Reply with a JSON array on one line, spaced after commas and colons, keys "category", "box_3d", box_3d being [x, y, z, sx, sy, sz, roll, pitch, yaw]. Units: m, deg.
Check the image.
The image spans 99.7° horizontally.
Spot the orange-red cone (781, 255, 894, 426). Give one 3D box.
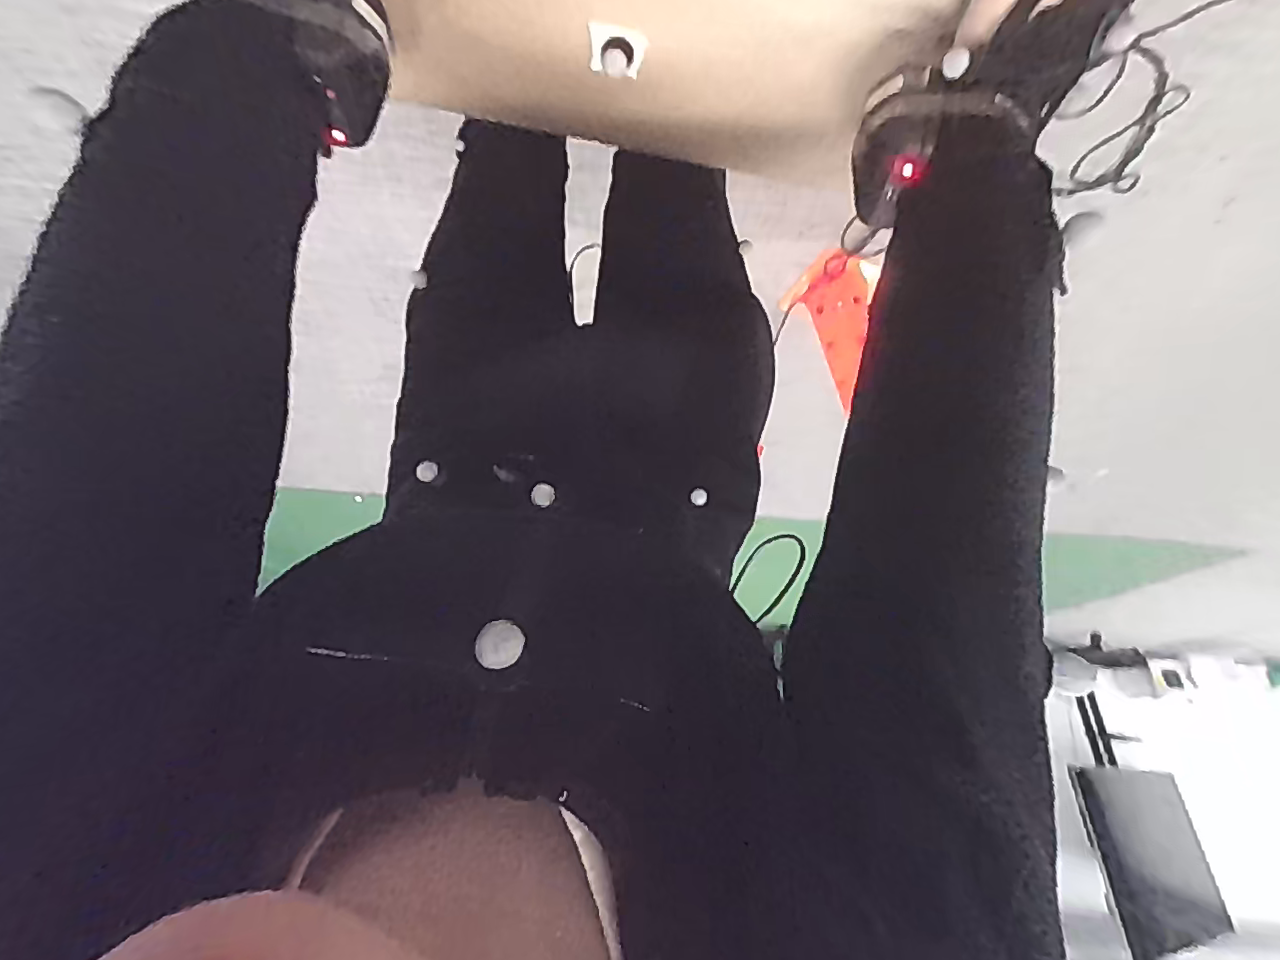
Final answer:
[{"category": "orange-red cone", "box_3d": [0.454, -0.279, 1.193, 0.199, 0.360, 0.198, 12, 152, -20]}]
